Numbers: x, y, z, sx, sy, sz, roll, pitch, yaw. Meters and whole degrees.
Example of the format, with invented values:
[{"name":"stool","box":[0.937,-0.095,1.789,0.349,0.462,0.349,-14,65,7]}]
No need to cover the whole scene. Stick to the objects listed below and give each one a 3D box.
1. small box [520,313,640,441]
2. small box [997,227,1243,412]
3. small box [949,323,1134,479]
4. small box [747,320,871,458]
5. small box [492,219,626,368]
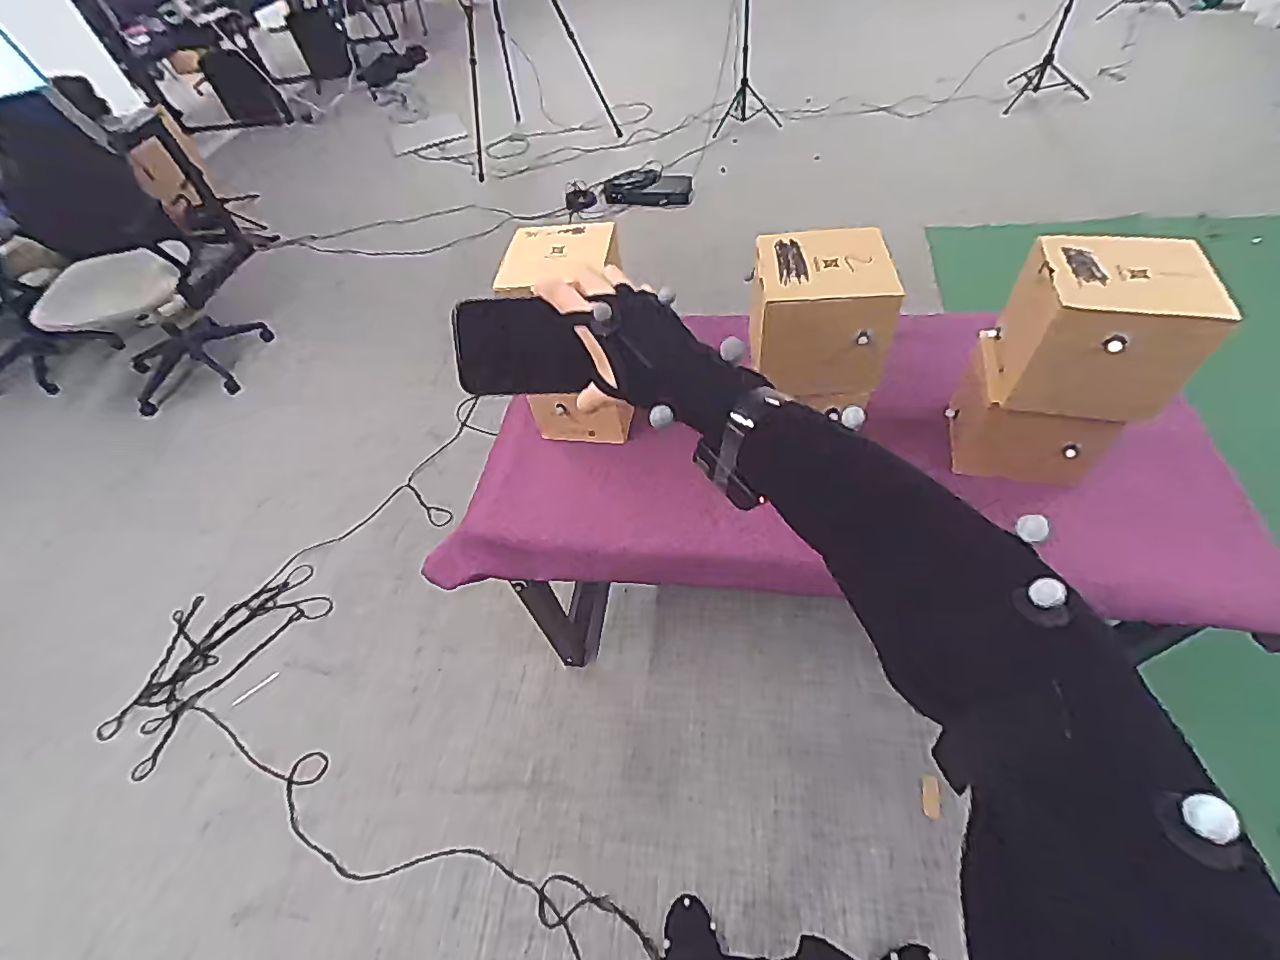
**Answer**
[{"name":"small box","box":[-0.100,-0.191,1.011,0.168,0.176,0.179,4,53,12]},{"name":"small box","box":[0.595,-0.208,0.707,0.179,0.176,0.168,9,54,14]},{"name":"small box","box":[0.609,-0.120,0.846,0.179,0.176,0.168,8,54,15]},{"name":"small box","box":[0.278,-0.152,0.920,0.179,0.176,0.168,3,53,12]},{"name":"small box","box":[-0.119,-0.298,0.888,0.168,0.176,0.179,0,53,8]}]
